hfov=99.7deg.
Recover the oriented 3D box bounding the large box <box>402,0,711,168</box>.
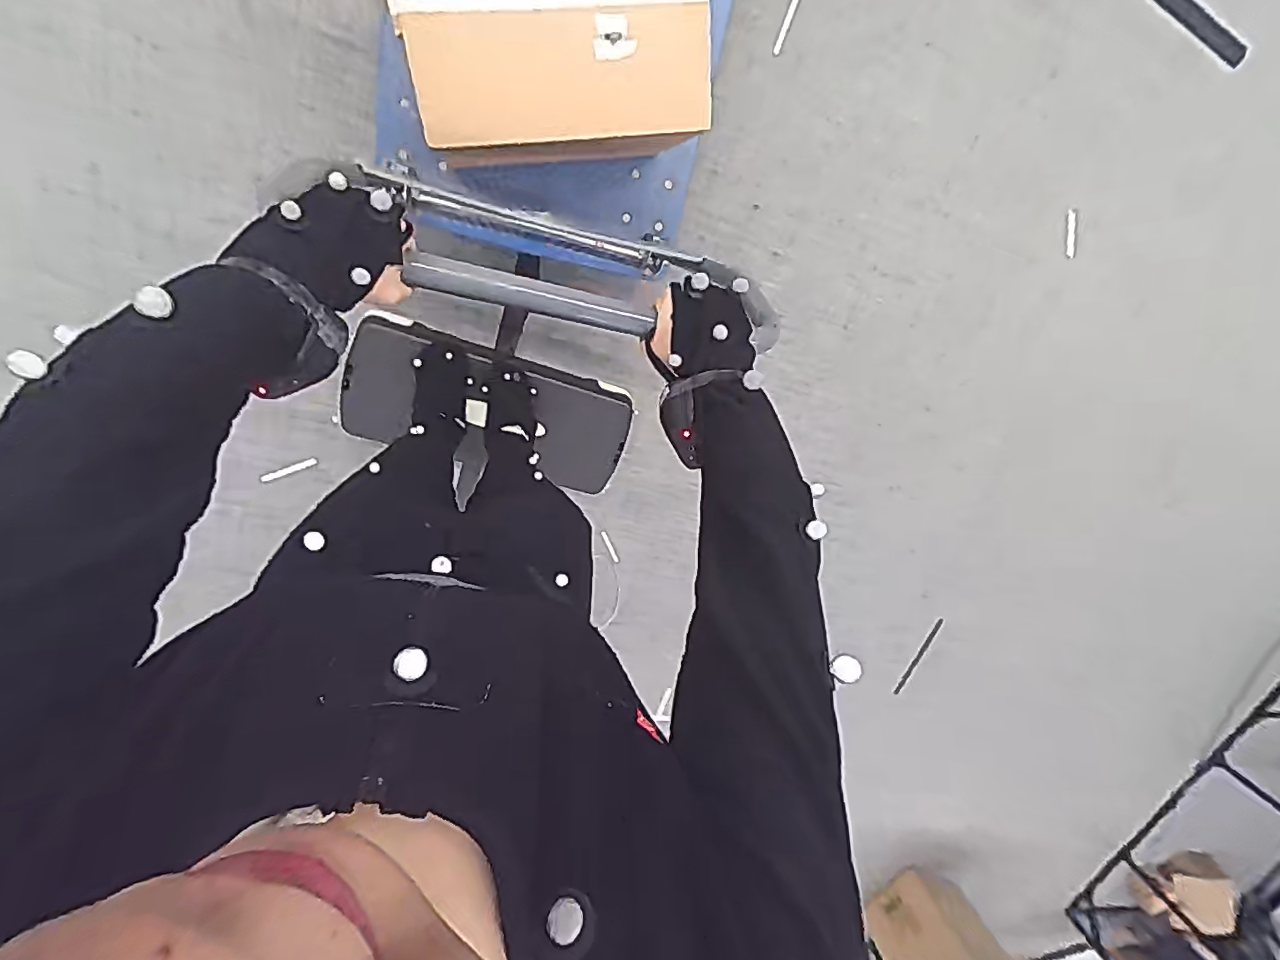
[{"bbox_3d":[-0.136,-0.684,0.825,0.408,0.320,0.320,-10,118,-10],"label":"large box"}]
